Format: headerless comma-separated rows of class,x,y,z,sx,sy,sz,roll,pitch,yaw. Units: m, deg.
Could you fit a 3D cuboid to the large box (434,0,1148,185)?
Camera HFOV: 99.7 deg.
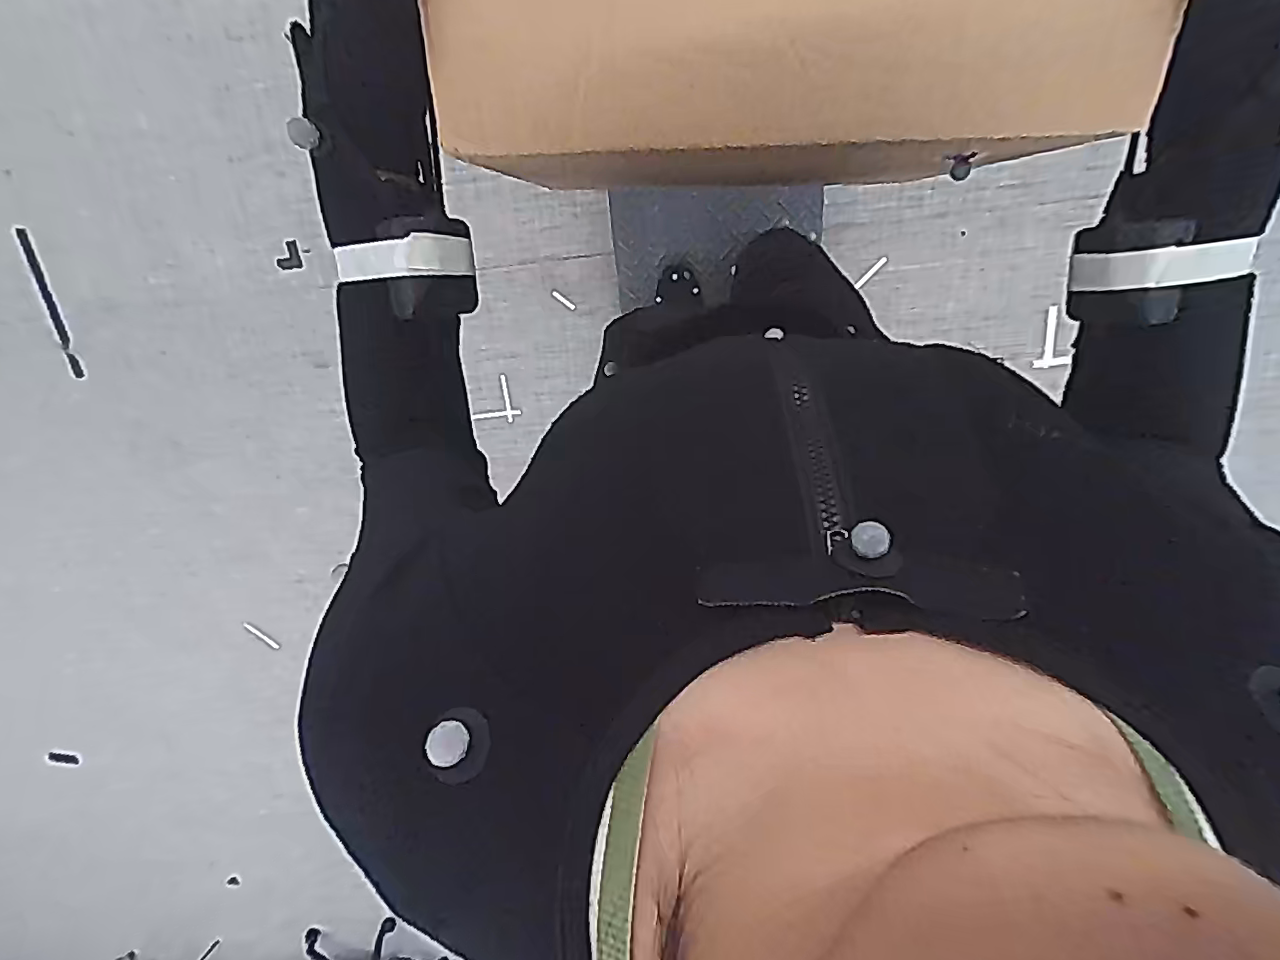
large box,0.086,-0.407,0.400,0.408,0.320,0.320,0,114,3
